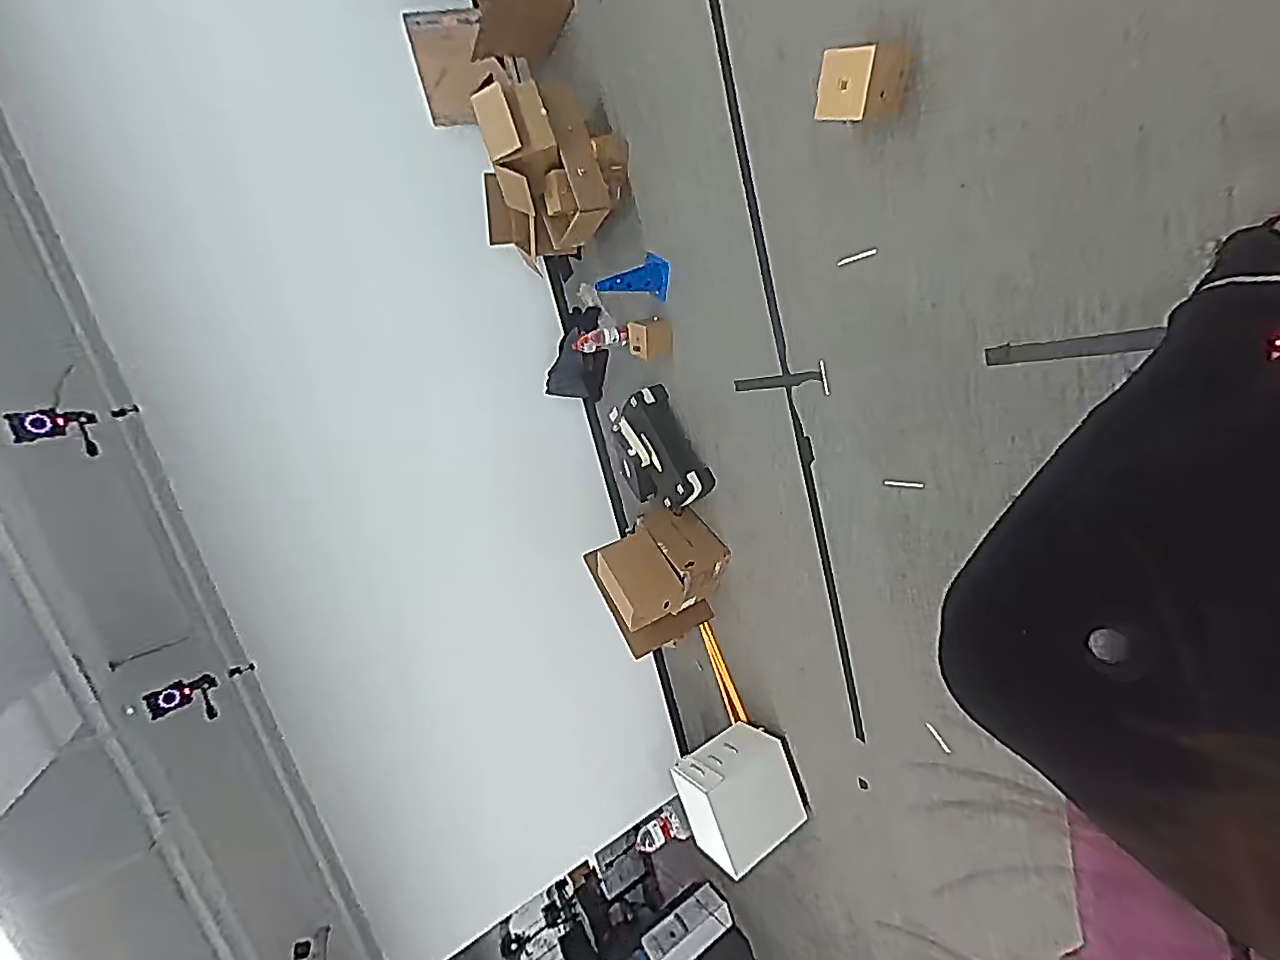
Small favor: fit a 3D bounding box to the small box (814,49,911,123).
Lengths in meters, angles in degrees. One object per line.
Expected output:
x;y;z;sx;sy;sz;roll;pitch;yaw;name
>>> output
0.632;-1.118;1.537;0.179;0.176;0.168;41;142;44;small box
